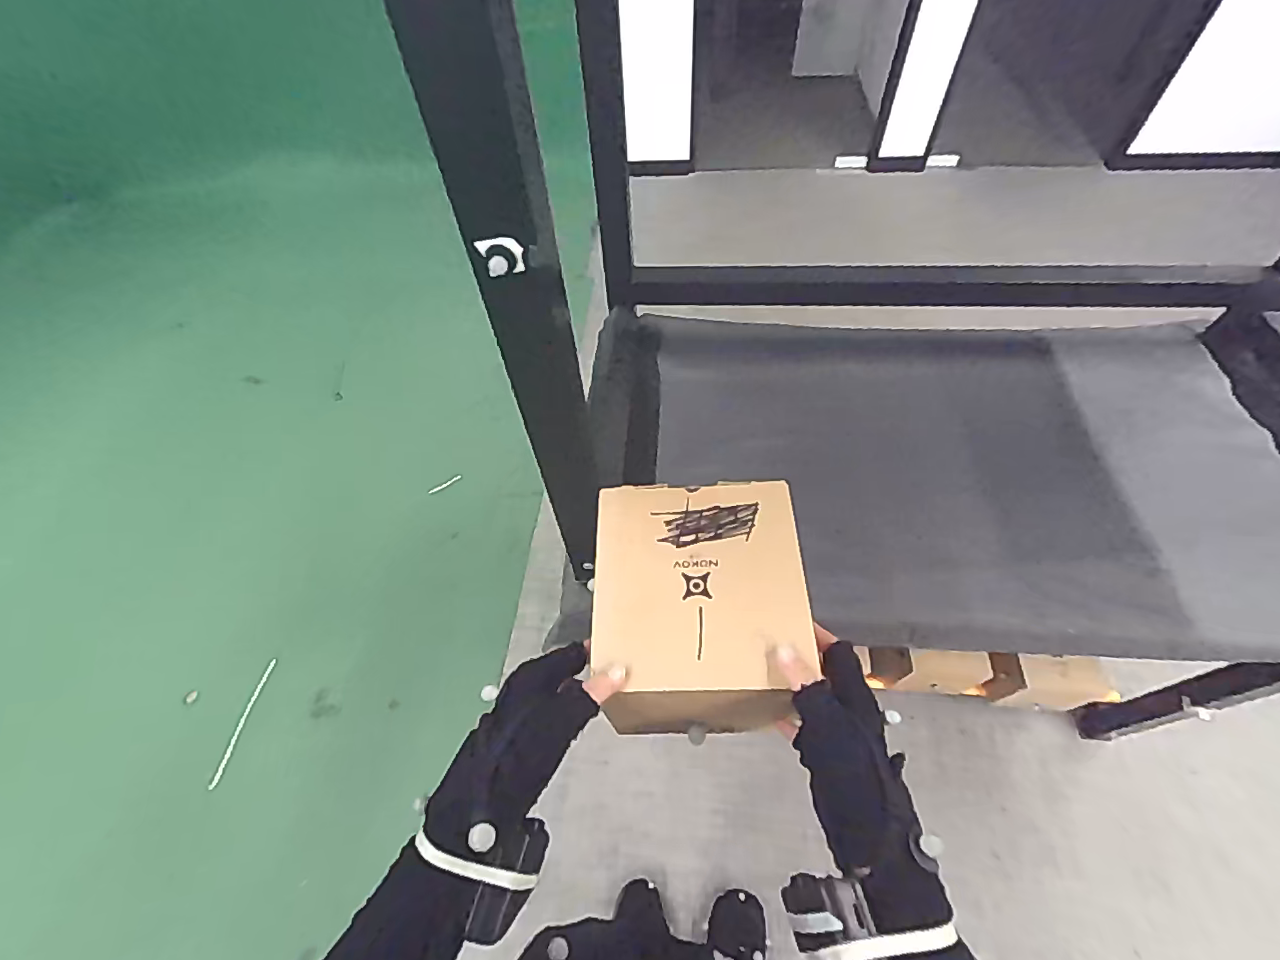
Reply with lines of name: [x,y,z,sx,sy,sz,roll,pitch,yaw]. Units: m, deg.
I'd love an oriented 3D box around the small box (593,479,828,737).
small box: [0.055,0.120,0.488,0.168,0.176,0.179,-4,54,5]

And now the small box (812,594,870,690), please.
small box: [0.421,0.380,1.264,0.168,0.176,0.179,3,56,5]
